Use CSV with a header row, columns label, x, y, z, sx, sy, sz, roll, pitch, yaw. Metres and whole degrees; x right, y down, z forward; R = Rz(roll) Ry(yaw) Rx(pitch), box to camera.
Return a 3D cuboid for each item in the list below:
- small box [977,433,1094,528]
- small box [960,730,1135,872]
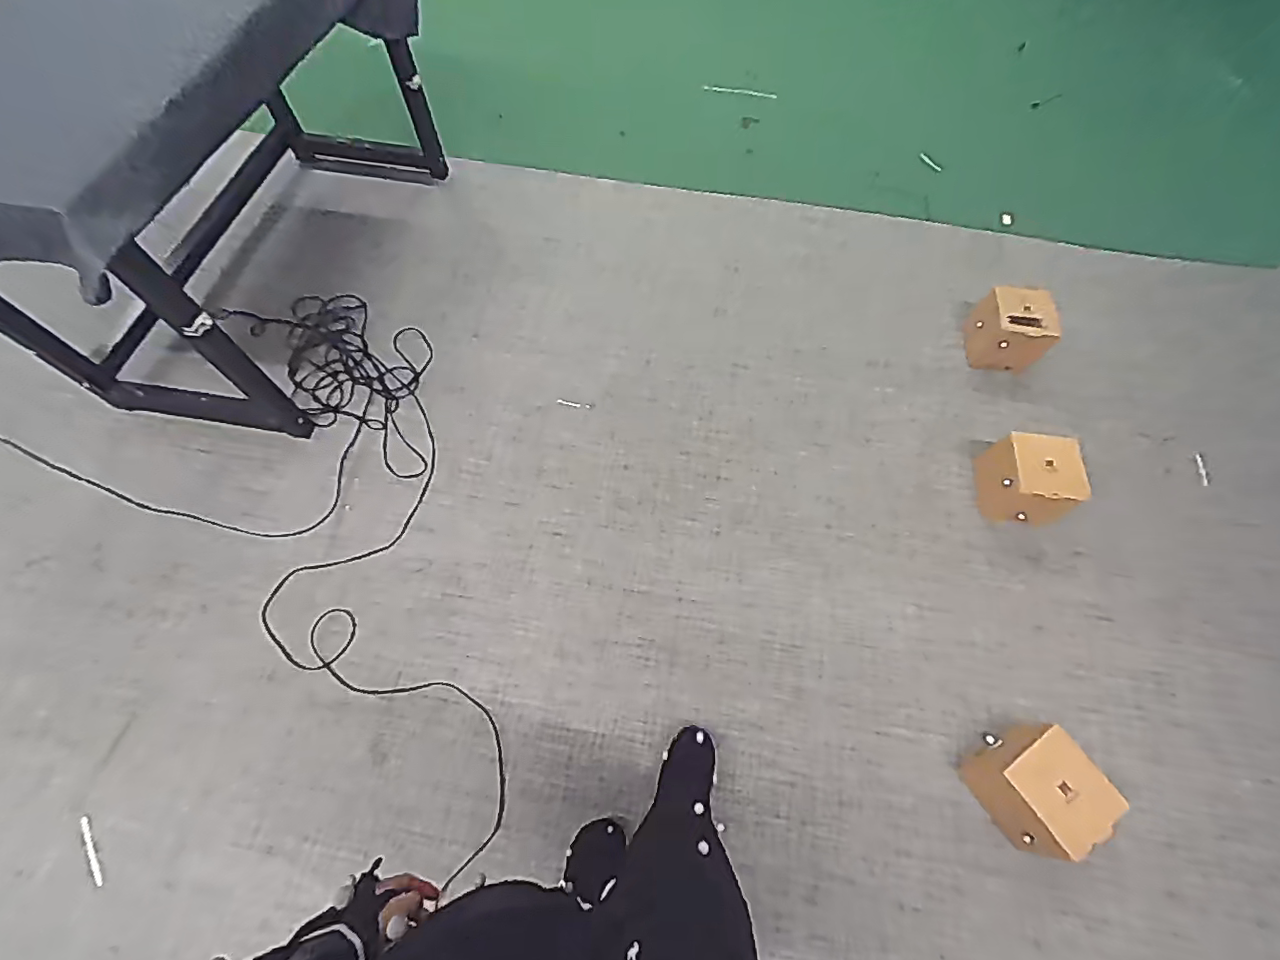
label,x,y,z,sx,sy,sz,roll,pitch,yaw
small box,0.991,0.005,1.376,0.168,0.176,0.179,7,64,2
small box,0.790,0.620,1.068,0.168,0.176,0.179,-29,67,-16
